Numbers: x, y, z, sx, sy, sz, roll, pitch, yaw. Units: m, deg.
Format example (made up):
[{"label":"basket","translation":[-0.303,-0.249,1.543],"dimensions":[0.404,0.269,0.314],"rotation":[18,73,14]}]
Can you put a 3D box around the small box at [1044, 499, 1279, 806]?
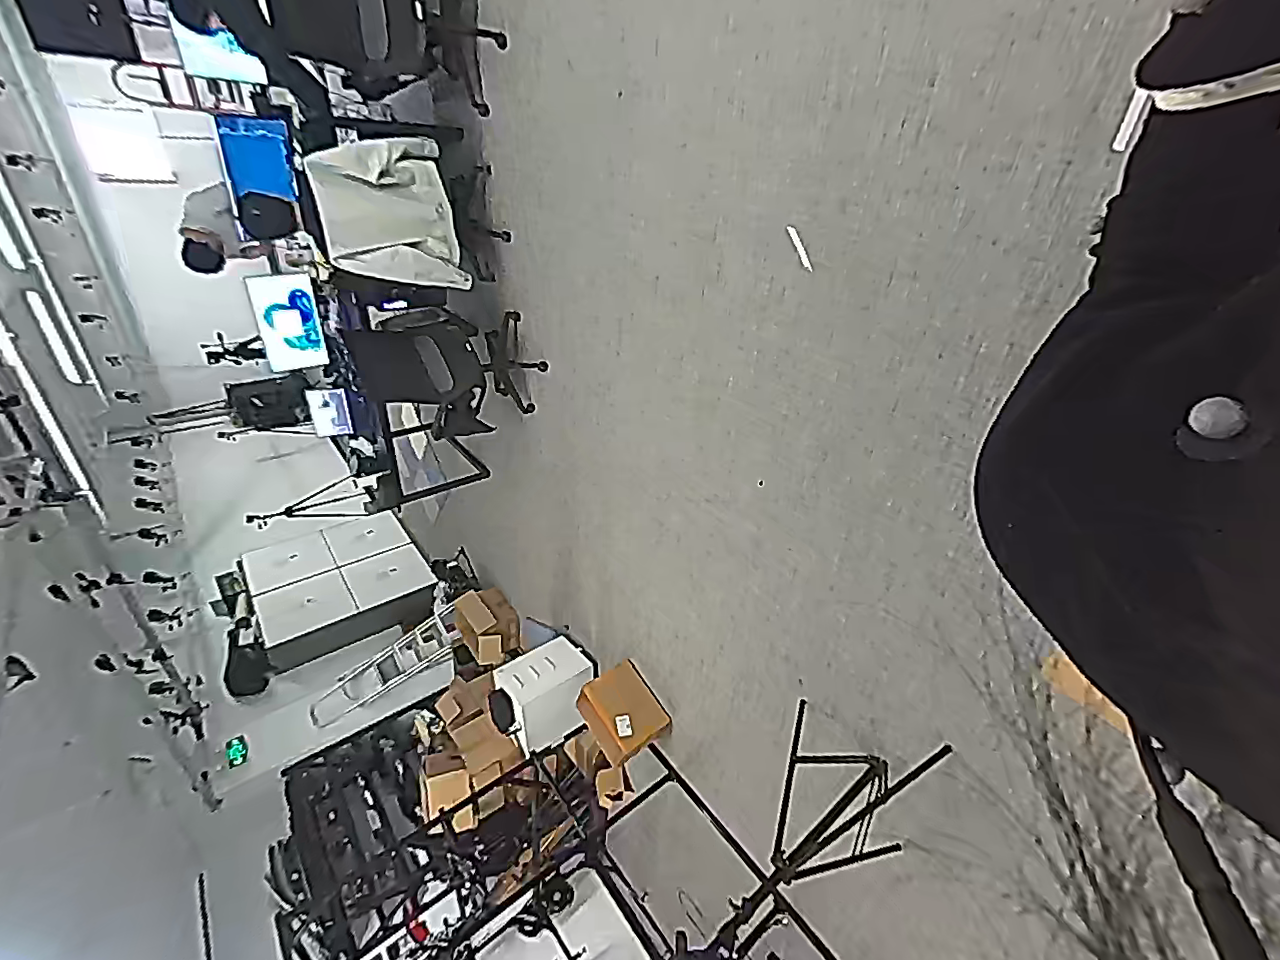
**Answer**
[{"label":"small box","translation":[0.532,0.143,0.501],"dimensions":[0.168,0.176,0.179],"rotation":[39,137,39]}]

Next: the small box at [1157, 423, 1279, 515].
[{"label":"small box","translation":[0.787,0.049,0.680],"dimensions":[0.168,0.176,0.179],"rotation":[41,136,36]}]
